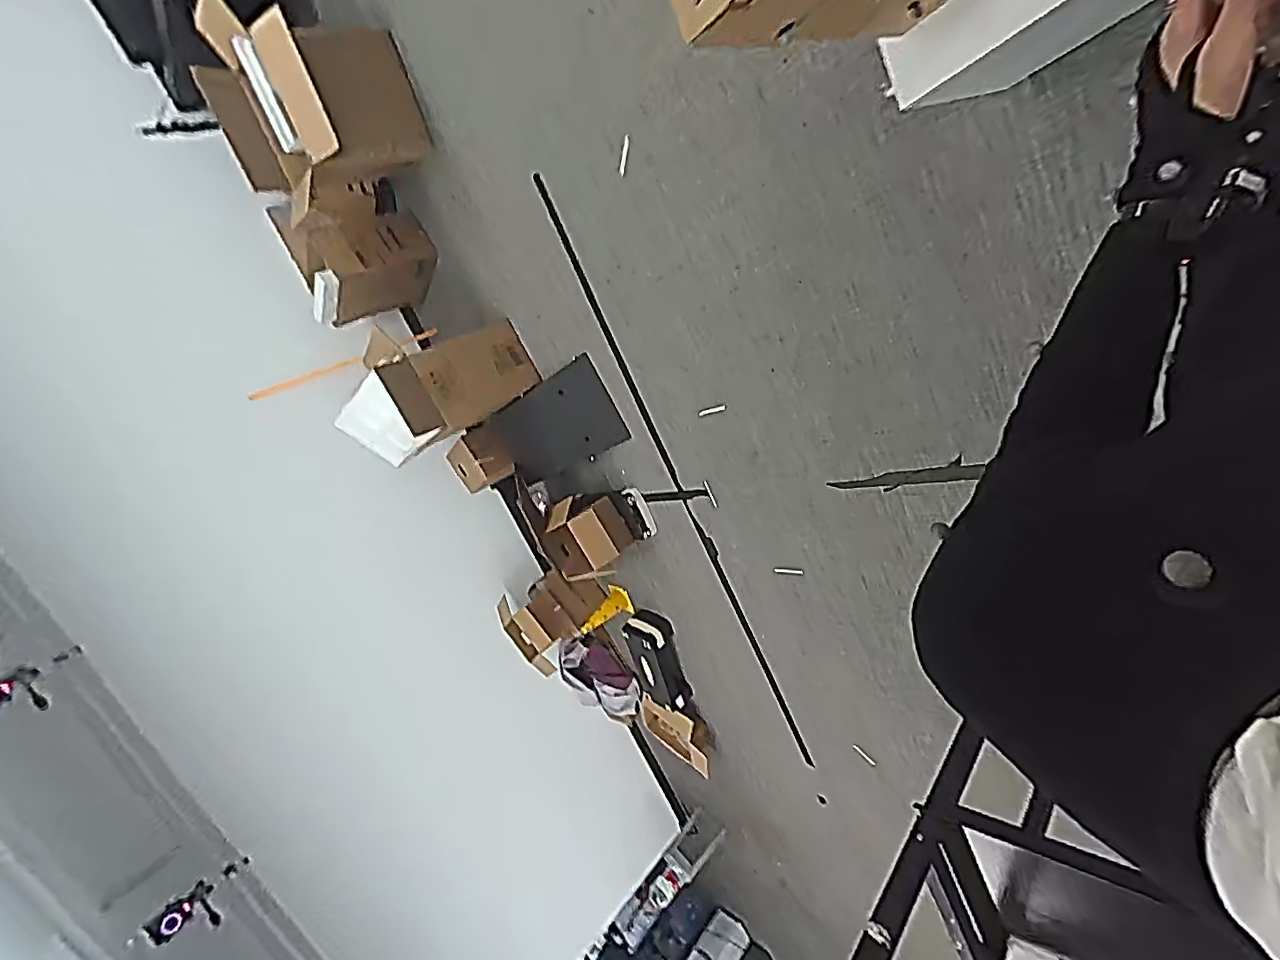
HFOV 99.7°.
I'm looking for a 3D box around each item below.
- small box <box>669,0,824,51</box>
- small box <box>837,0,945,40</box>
[{"bbox_3d":[0.122,-0.553,0.510,0.168,0.176,0.179,-3,114,52],"label":"small box"},{"bbox_3d":[0.350,-0.710,0.688,0.168,0.176,0.179,-8,111,52],"label":"small box"}]
